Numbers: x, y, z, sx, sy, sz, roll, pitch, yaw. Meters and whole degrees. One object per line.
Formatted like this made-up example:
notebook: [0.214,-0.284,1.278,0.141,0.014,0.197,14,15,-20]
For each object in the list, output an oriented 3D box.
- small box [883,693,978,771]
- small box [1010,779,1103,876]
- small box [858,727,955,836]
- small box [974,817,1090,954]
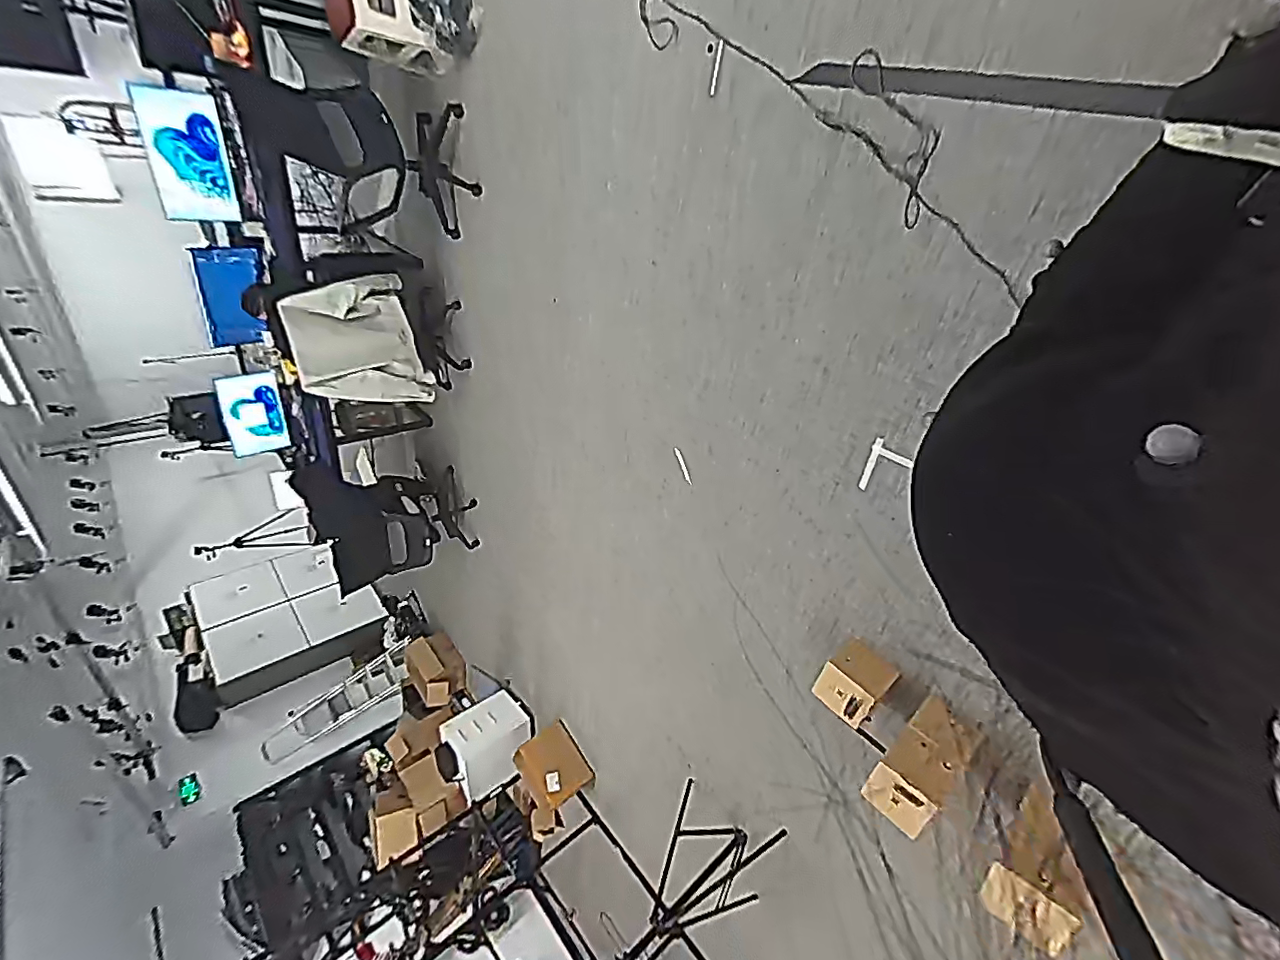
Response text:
small box: [0.876,0.785,1.625,0.168,0.176,0.179,38,132,32]
small box: [1.096,0.950,1.442,0.179,0.176,0.168,23,122,41]
small box: [0.756,0.841,1.526,0.168,0.176,0.179,36,132,35]
small box: [0.974,0.995,1.343,0.179,0.176,0.168,26,124,42]
